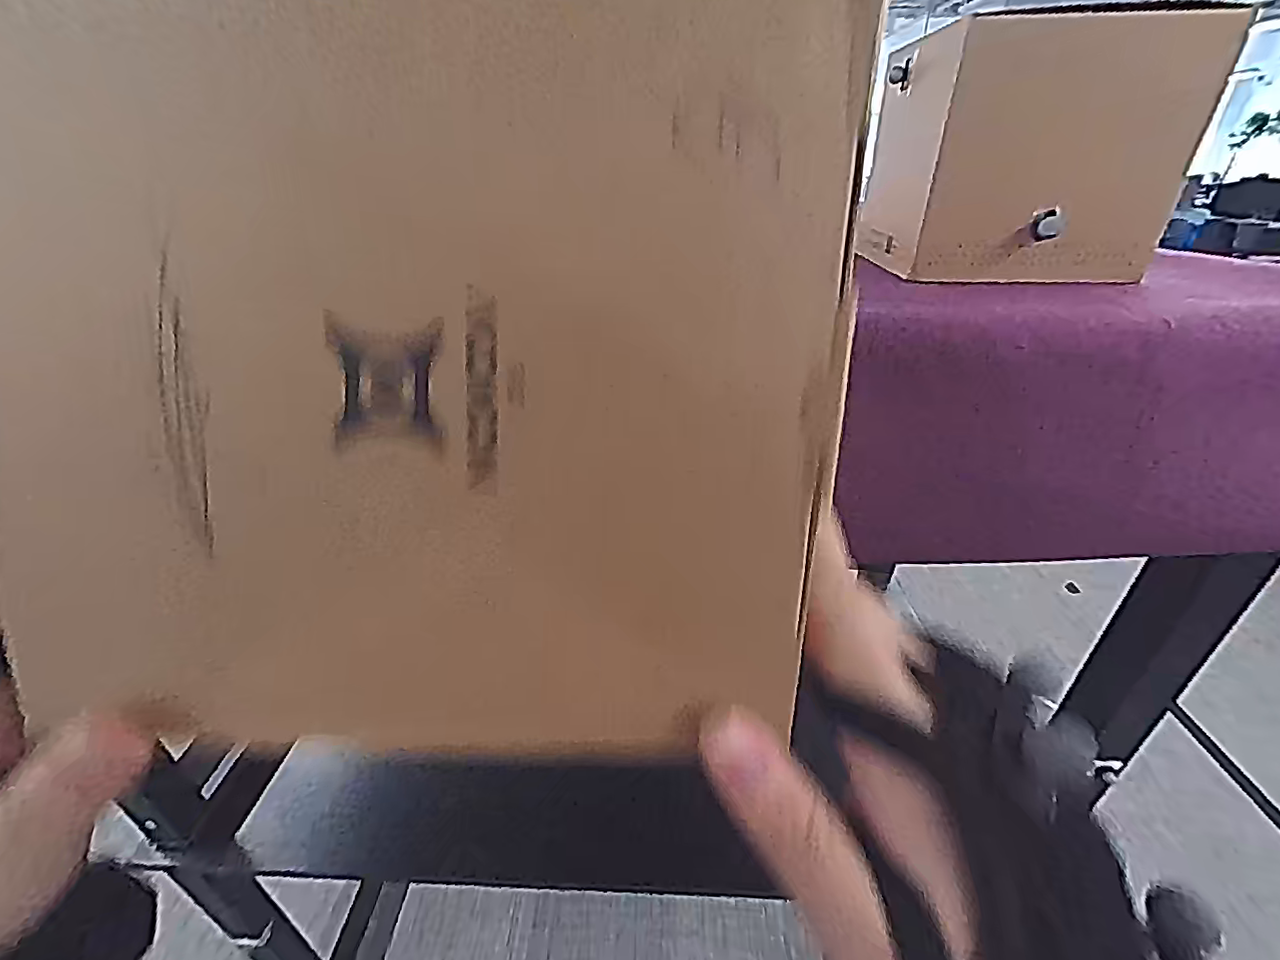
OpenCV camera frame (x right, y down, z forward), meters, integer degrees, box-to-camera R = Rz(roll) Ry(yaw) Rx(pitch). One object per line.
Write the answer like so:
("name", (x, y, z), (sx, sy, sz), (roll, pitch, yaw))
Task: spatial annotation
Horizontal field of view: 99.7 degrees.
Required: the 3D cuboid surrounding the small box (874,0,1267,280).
("small box", (0.306, -0.265, 0.444), (0.179, 0.176, 0.168), (2, 30, 4))
